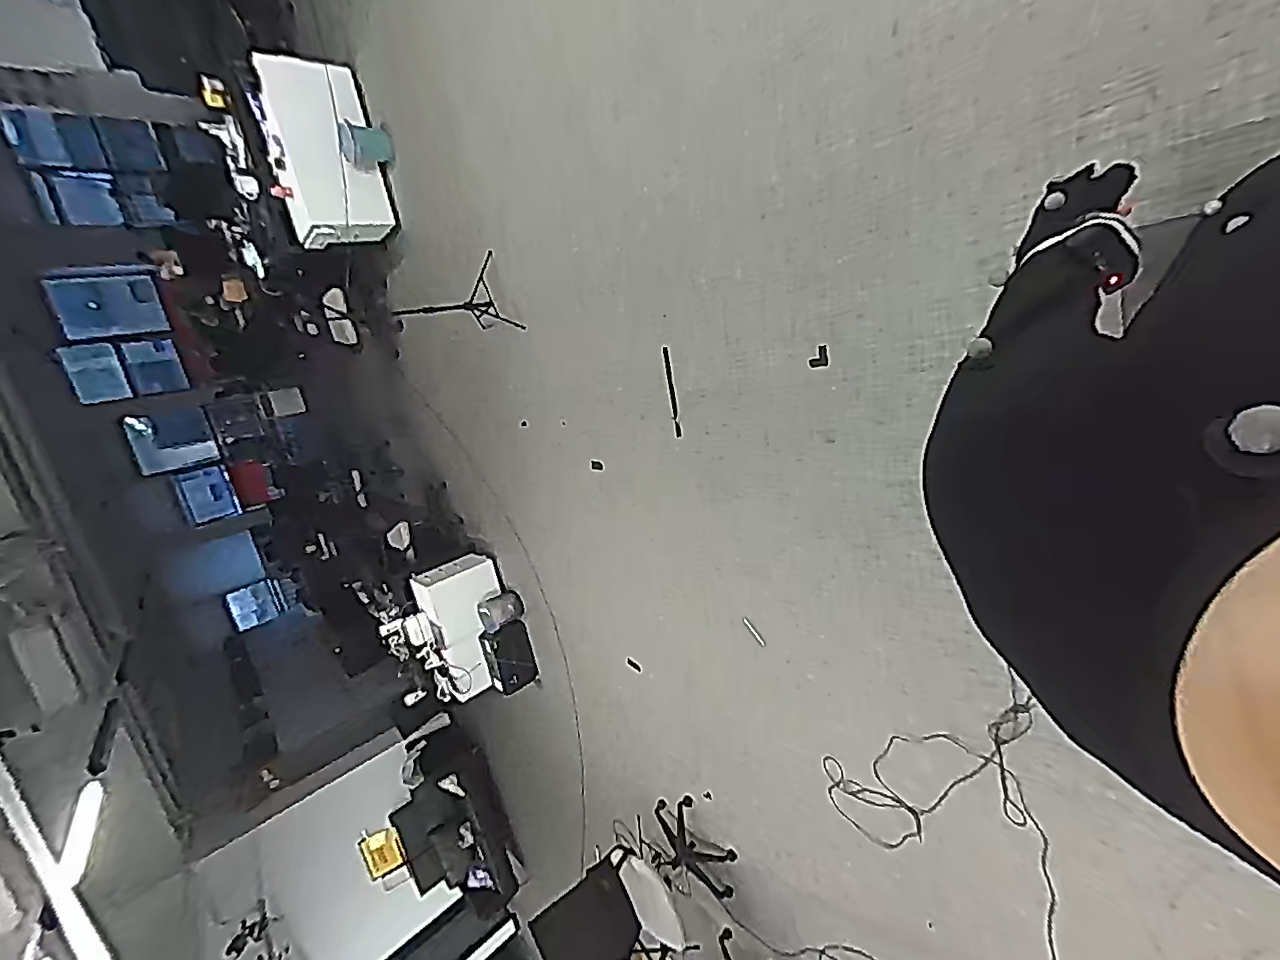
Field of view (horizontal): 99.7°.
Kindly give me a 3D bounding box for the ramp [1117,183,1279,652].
[{"bbox_3d":[1.263,-0.058,1.035,0.509,0.206,0.991,0,108,49],"label":"ramp"}]
